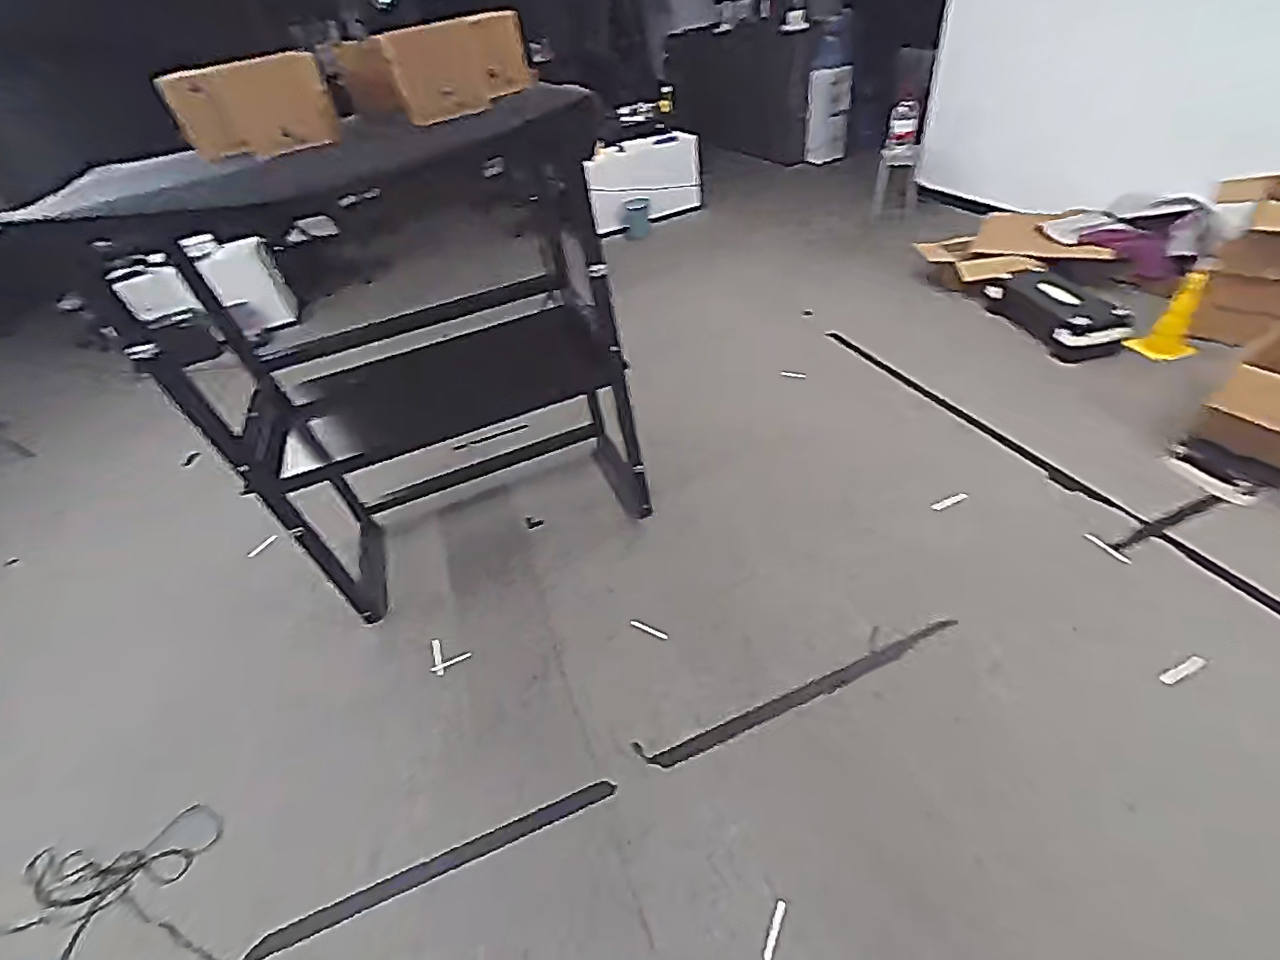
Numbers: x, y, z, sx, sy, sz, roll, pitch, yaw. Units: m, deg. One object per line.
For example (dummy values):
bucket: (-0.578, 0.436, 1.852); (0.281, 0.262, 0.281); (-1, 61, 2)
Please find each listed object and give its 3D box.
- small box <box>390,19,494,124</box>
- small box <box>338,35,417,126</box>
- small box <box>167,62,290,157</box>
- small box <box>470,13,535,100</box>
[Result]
small box: (-0.456, -0.938, 1.250); (0.168, 0.176, 0.179); (-24, 42, -13)
small box: (-0.668, -1.047, 1.418); (0.168, 0.176, 0.179); (-22, 42, -12)
small box: (-1.025, -0.937, 1.370); (0.168, 0.176, 0.179); (-17, 42, -6)
small box: (-0.413, -1.160, 1.486); (0.168, 0.176, 0.179); (-29, 47, -18)
